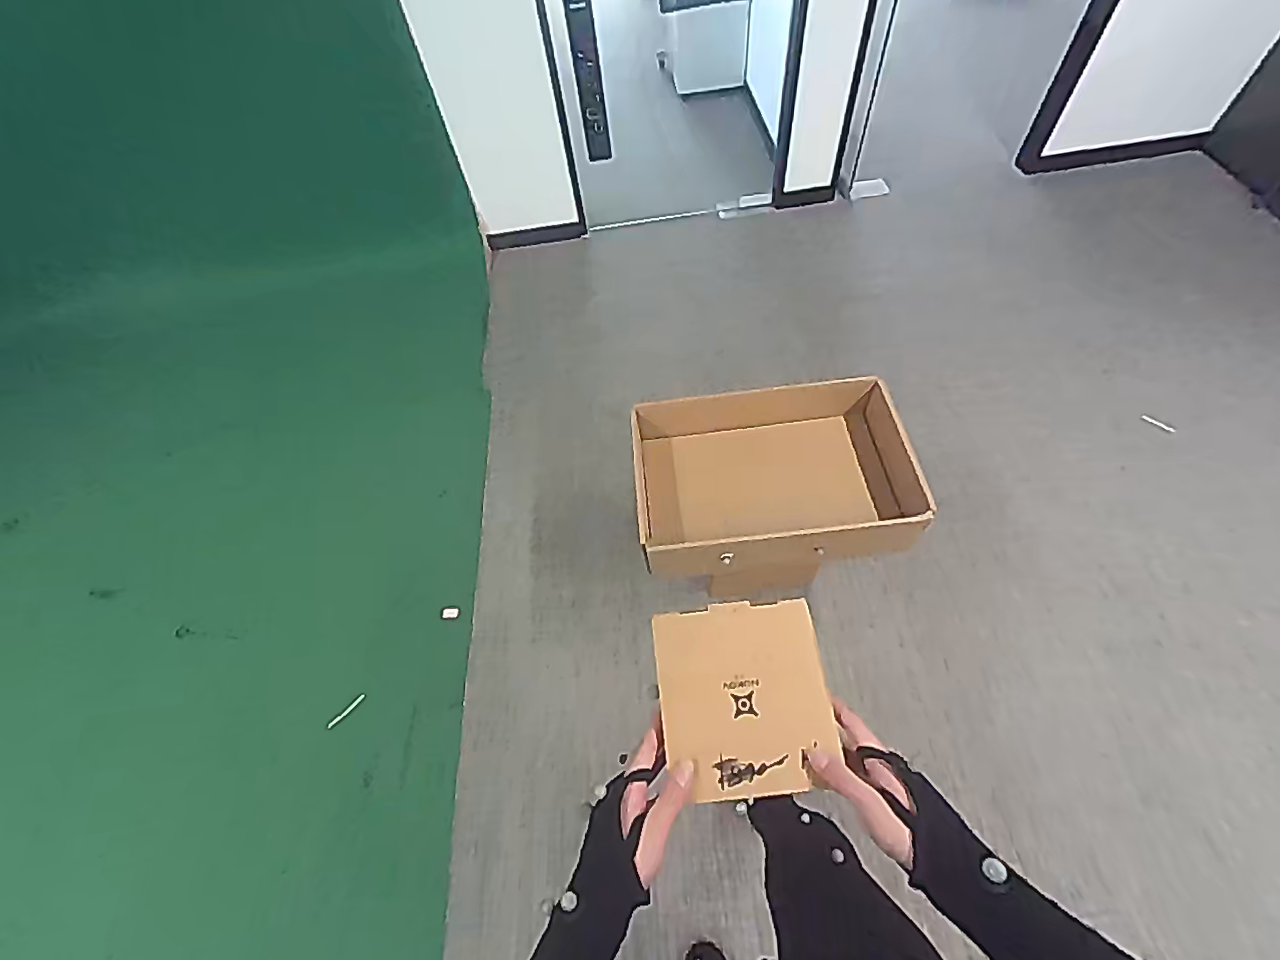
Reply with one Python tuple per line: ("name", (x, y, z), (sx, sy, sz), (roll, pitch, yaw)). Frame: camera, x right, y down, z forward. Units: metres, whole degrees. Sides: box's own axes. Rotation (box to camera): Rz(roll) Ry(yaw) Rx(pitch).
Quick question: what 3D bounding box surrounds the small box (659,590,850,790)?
("small box", (0.109, 0.235, 0.604), (0.168, 0.176, 0.179), (-6, 65, 0))
